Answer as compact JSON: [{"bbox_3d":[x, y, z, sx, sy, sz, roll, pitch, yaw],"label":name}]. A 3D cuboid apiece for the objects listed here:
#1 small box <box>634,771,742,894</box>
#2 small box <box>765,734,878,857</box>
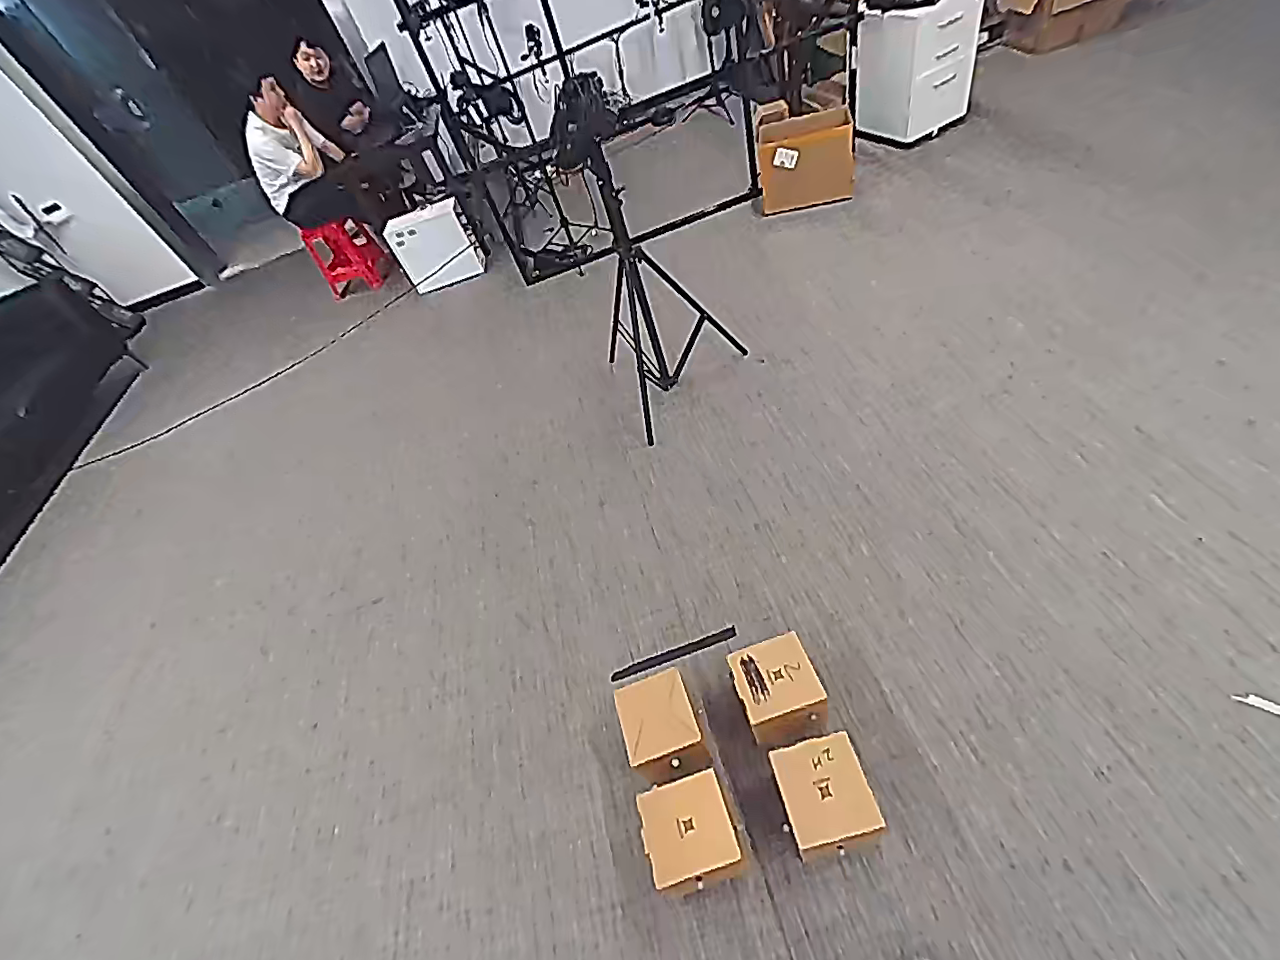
[{"bbox_3d":[0.105,0.739,1.130,0.179,0.176,0.168,-21,47,2],"label":"small box"},{"bbox_3d":[0.368,0.653,1.109,0.168,0.176,0.179,-17,47,3],"label":"small box"}]
